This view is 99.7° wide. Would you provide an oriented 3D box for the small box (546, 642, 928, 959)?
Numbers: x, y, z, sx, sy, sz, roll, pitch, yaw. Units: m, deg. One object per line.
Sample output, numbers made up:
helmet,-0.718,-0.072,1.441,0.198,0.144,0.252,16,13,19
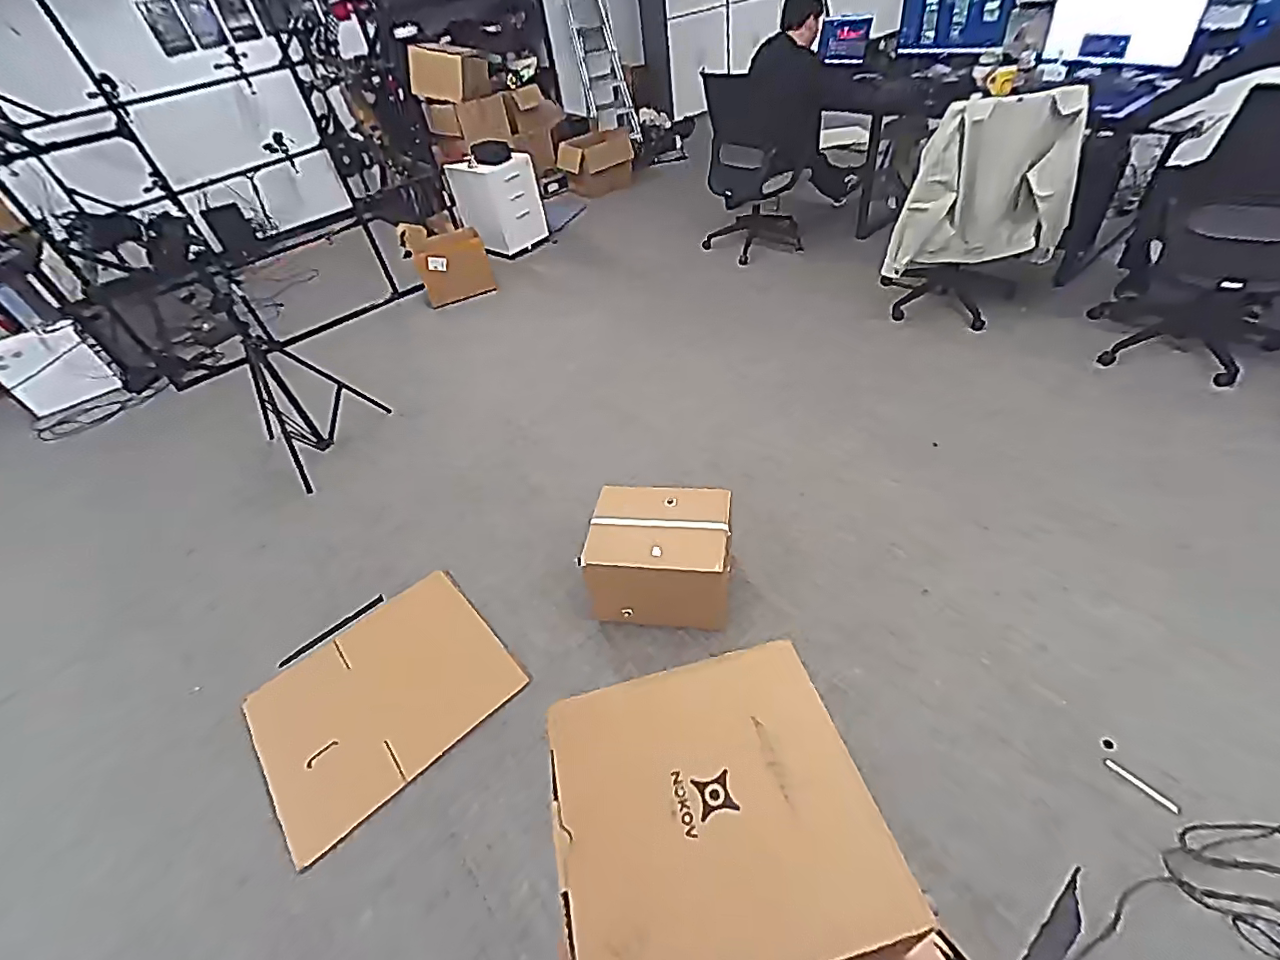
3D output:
small box,0.048,0.242,0.359,0.179,0.176,0.168,-13,41,-7
